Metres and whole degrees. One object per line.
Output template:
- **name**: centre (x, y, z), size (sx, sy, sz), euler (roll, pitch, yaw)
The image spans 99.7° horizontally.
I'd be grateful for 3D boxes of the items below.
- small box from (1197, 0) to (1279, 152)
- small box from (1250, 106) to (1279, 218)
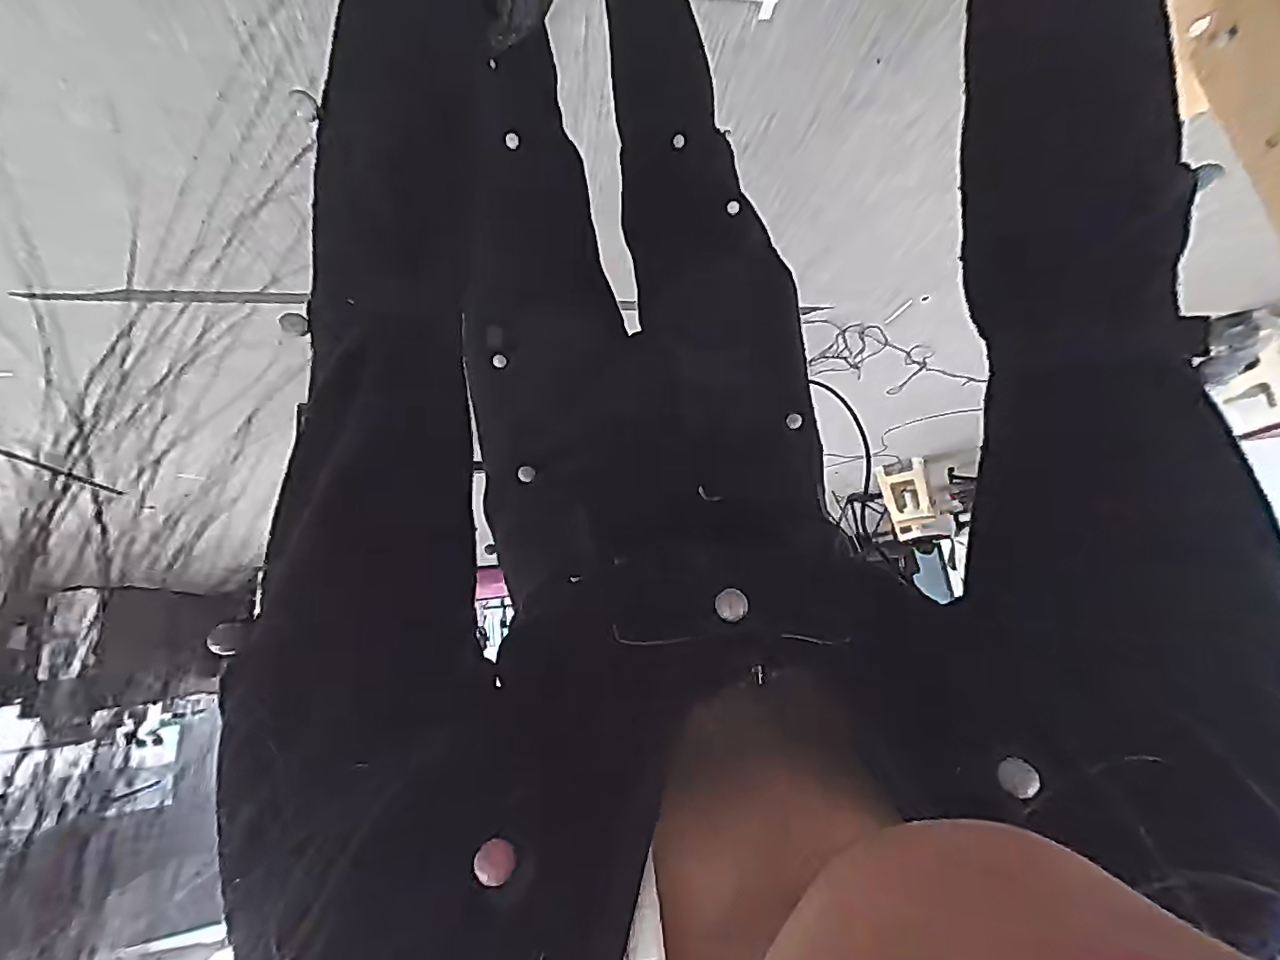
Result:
- **small box**: centre (0.776, -0.517, 0.587), size (0.179, 0.176, 0.168), euler (-14, 164, 27)
- **small box**: centre (0.798, -0.360, 0.544), size (0.179, 0.176, 0.168), euler (-15, 163, 27)
